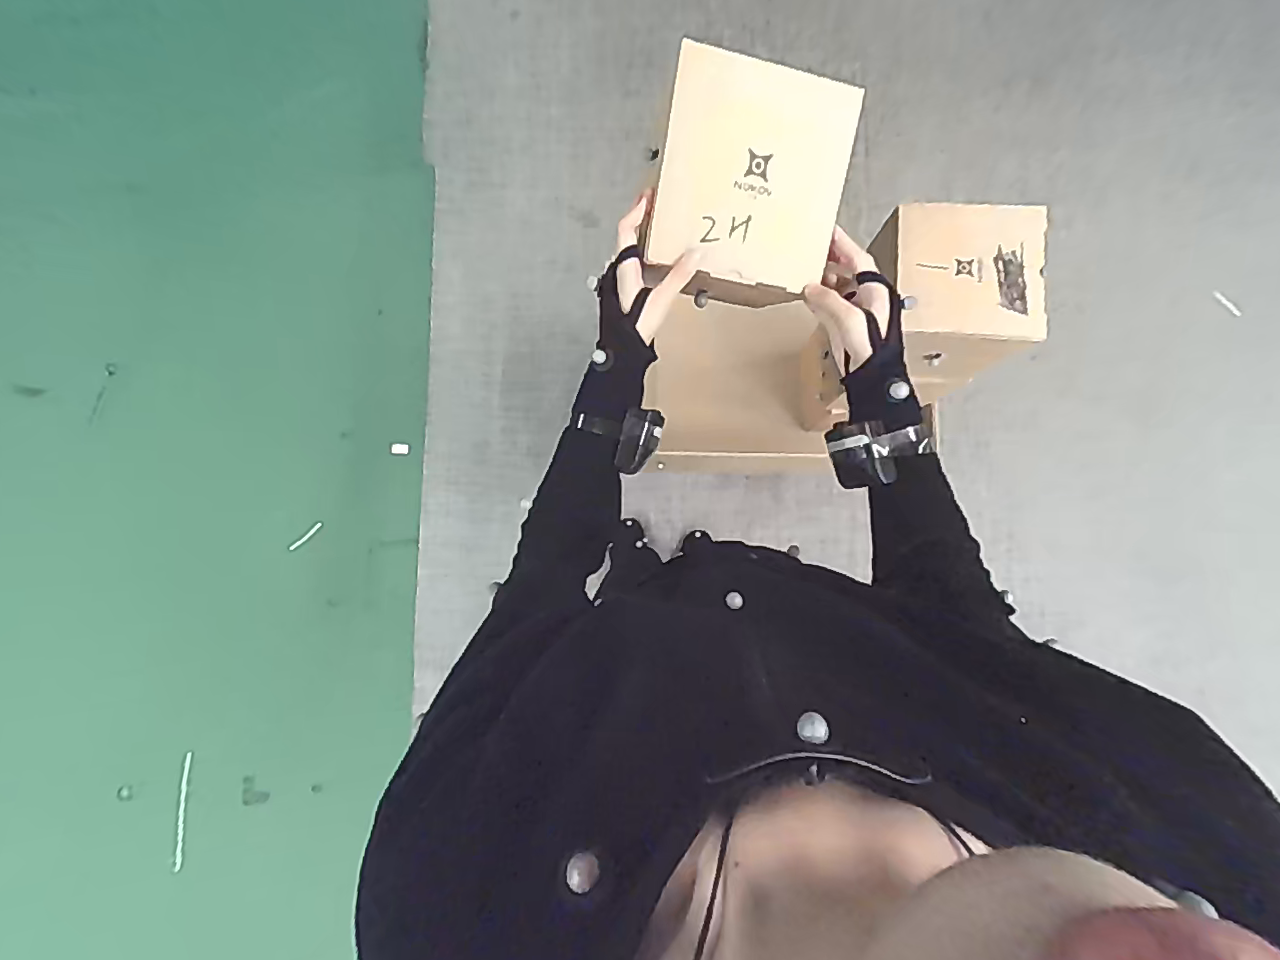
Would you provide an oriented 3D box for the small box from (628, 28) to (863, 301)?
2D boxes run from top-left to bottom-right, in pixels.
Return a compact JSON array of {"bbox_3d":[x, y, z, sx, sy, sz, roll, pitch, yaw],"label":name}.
[{"bbox_3d":[0.087,-0.289,0.542,0.168,0.176,0.179,8,103,-9],"label":"small box"}]

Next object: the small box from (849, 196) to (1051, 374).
[{"bbox_3d":[0.395,-0.244,0.714,0.179,0.176,0.168,4,84,4],"label":"small box"}]
